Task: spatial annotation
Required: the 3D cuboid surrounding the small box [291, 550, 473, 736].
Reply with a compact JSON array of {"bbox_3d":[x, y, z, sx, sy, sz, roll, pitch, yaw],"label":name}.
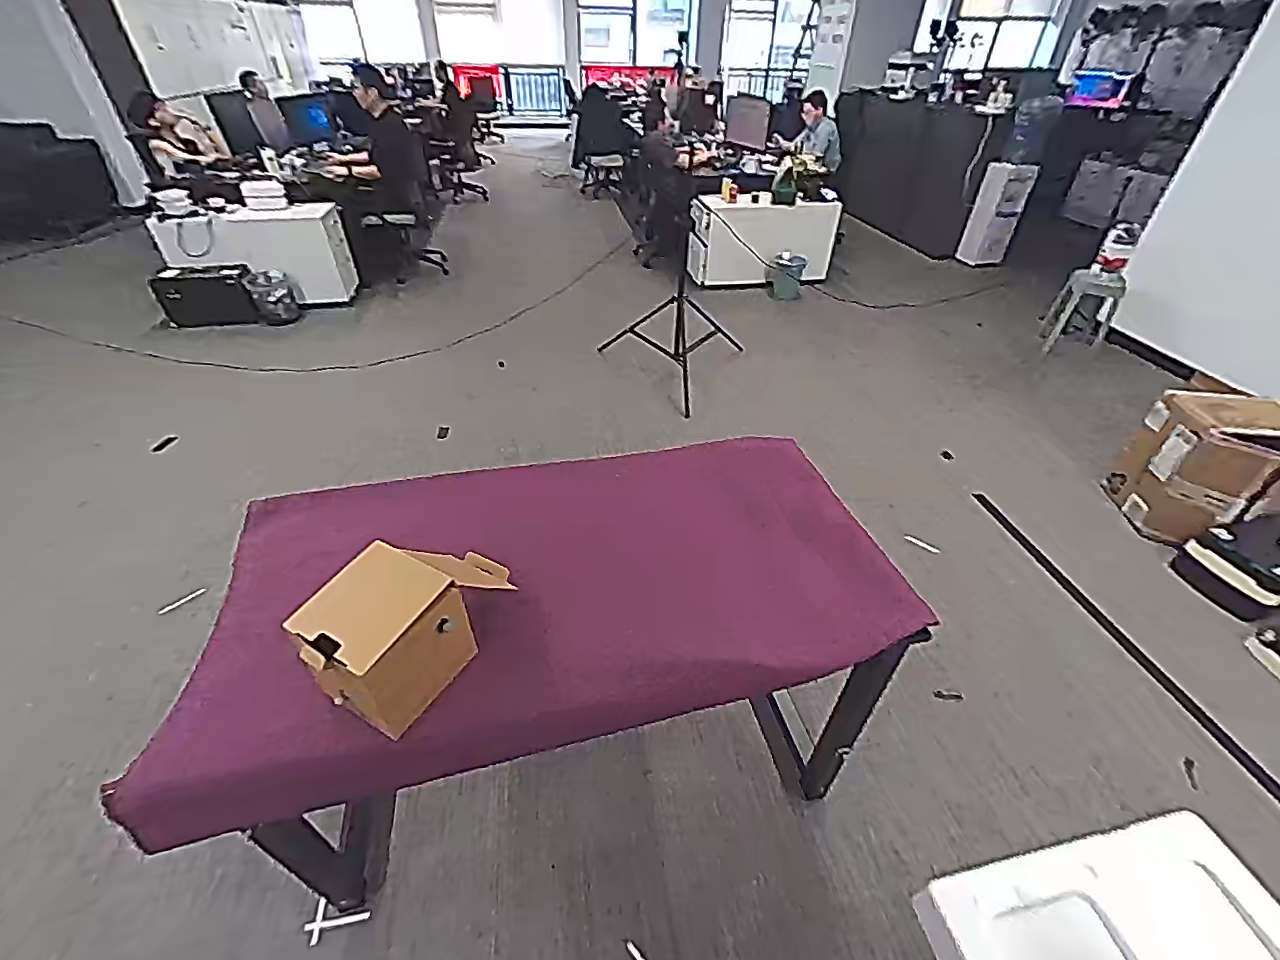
[{"bbox_3d":[-0.378,0.245,0.829,0.168,0.176,0.179,19,42,23],"label":"small box"}]
